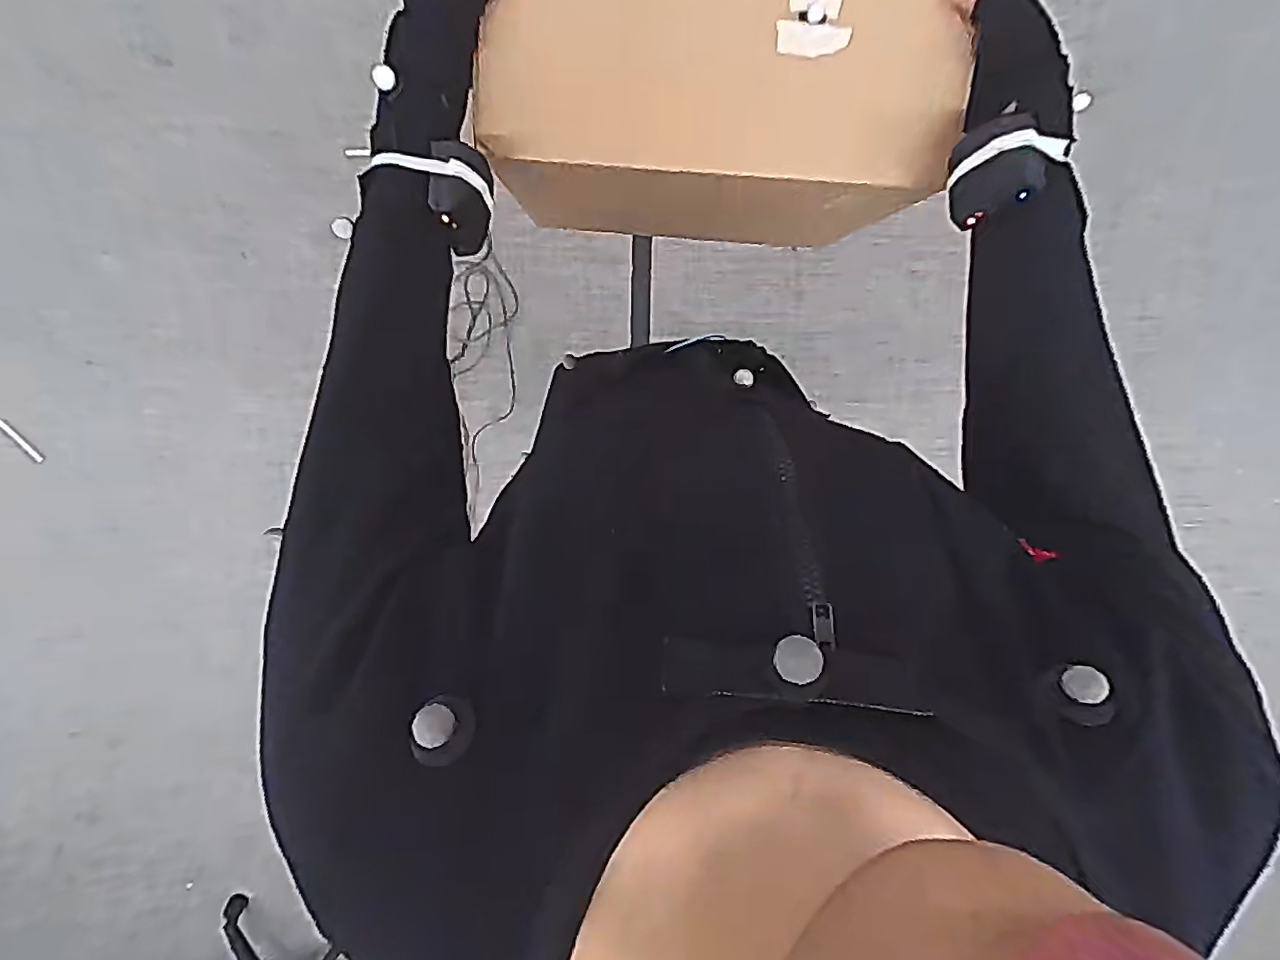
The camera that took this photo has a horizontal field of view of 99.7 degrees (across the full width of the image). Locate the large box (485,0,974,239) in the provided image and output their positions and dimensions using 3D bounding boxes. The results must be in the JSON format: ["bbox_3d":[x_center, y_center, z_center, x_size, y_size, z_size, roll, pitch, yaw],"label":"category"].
[{"bbox_3d":[0.069,-0.453,0.571,0.408,0.320,0.320,3,106,-3],"label":"large box"}]
